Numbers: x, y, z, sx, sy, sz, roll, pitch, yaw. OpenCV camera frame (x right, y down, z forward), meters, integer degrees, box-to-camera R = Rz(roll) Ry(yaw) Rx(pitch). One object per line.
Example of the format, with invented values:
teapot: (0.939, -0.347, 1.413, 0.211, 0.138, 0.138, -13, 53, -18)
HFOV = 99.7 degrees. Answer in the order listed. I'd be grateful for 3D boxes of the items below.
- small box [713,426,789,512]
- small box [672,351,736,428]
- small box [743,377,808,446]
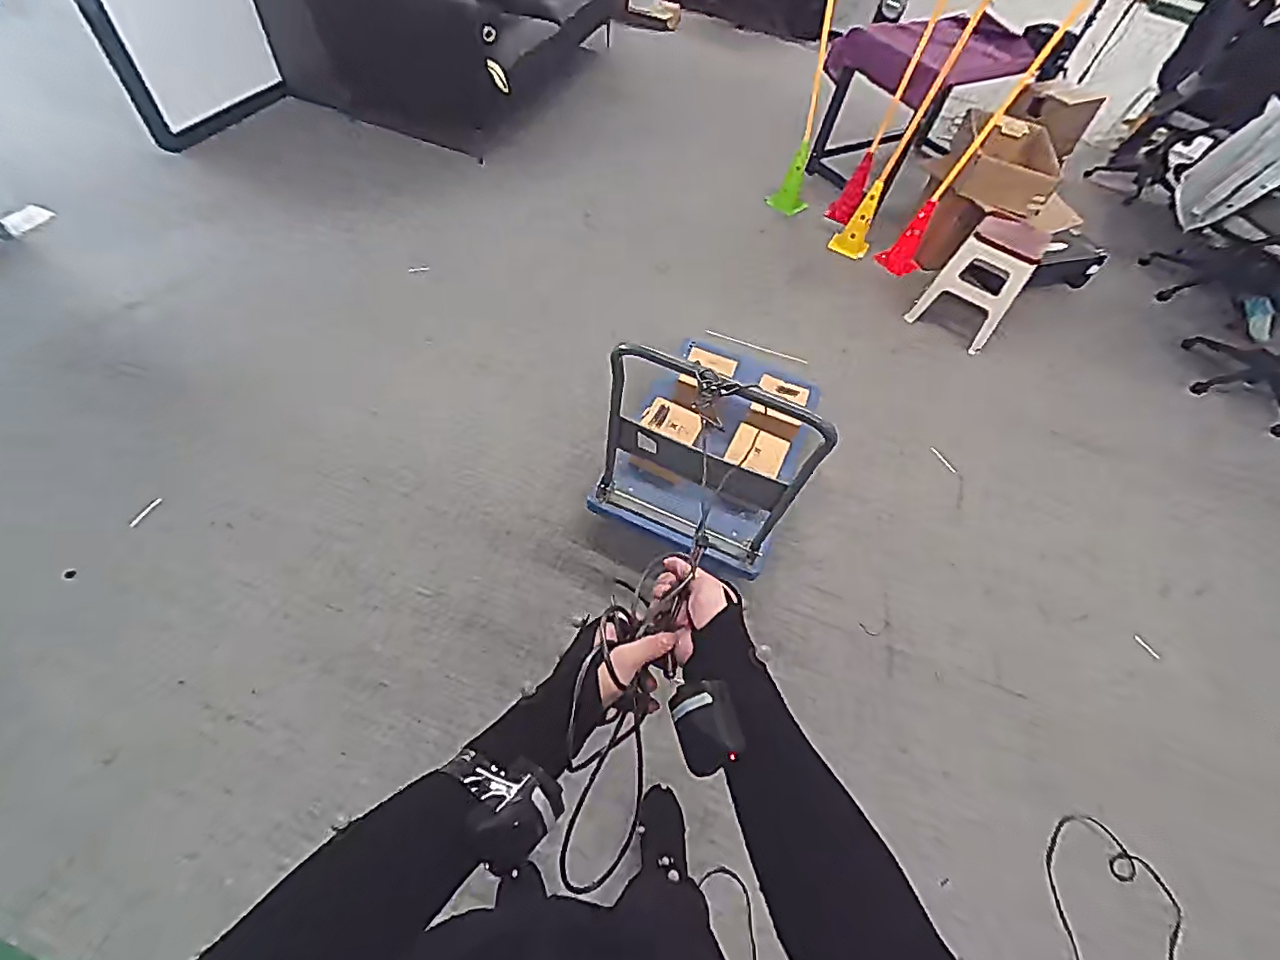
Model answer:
small box: (0.343, -0.031, 1.700, 0.168, 0.176, 0.179, 25, 57, 9)
small box: (0.216, -0.309, 1.870, 0.168, 0.176, 0.179, 20, 56, 6)
small box: (0.449, -0.211, 1.833, 0.168, 0.176, 0.179, 21, 56, 8)
